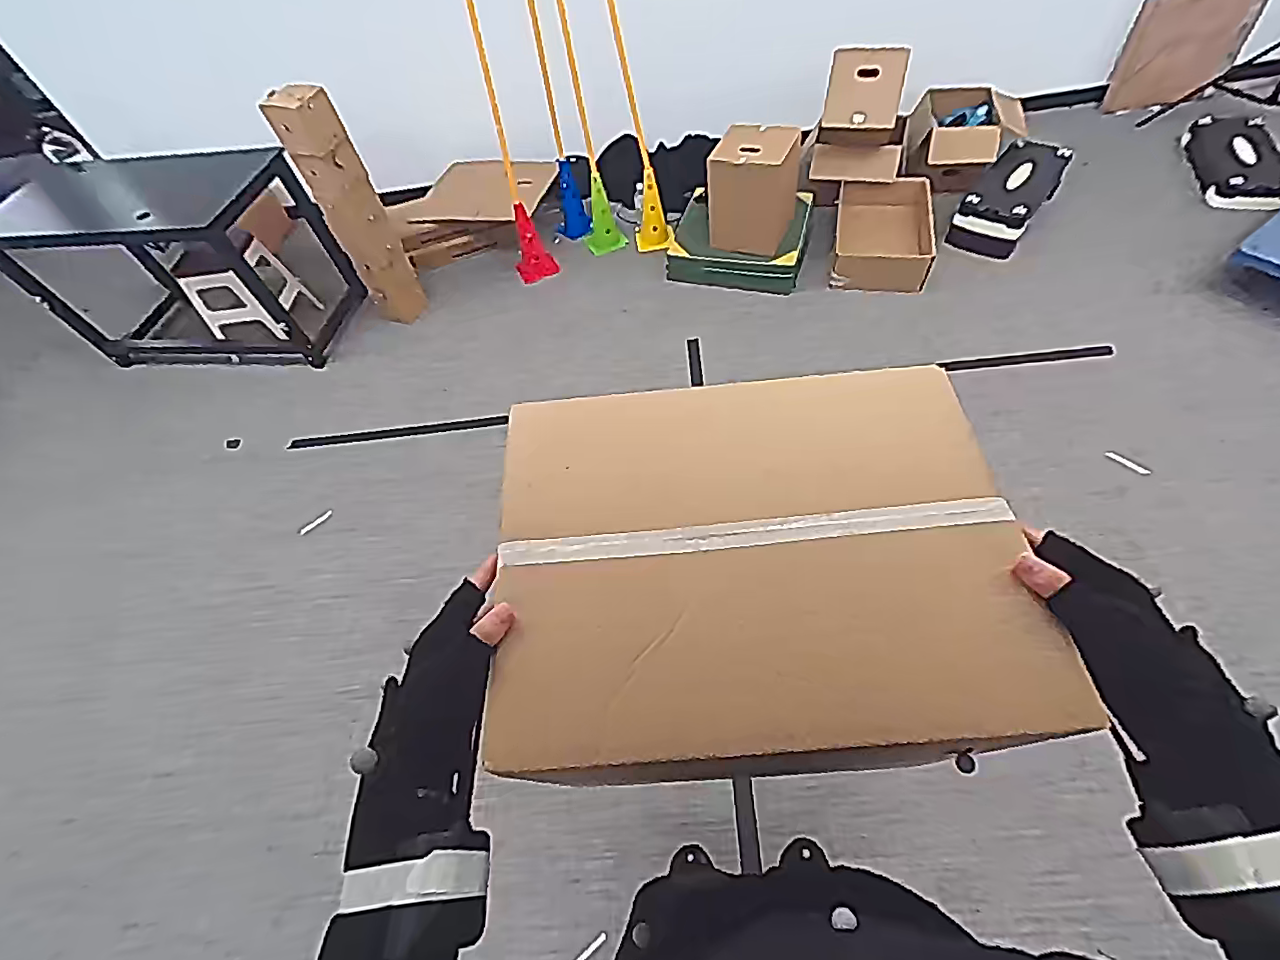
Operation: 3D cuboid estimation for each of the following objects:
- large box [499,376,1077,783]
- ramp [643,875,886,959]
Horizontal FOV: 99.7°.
[{"bbox_3d":[0.102,0.127,0.570,0.408,0.320,0.320,-6,58,2],"label":"large box"},{"bbox_3d":[0.279,1.321,0.966,0.509,0.206,0.991,-6,56,3],"label":"ramp"}]
